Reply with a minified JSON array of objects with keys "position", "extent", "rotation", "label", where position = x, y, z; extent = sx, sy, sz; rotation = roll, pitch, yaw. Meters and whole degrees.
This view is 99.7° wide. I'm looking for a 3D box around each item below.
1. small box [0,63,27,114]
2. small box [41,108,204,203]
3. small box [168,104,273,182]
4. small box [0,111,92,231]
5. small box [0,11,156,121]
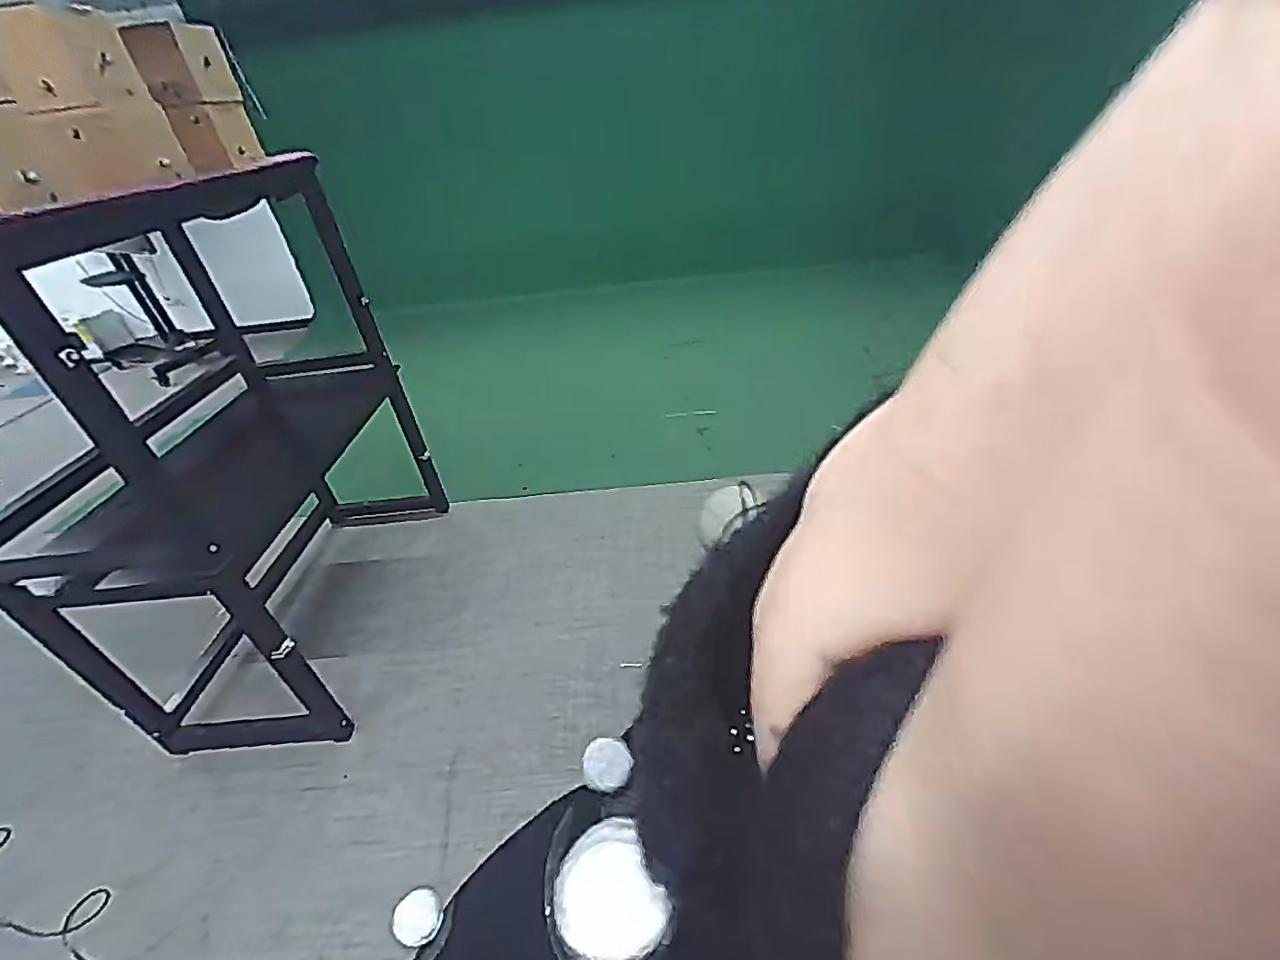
[{"position":[-1.182,-0.669,0.861],"extent":[0.179,0.176,0.168],"rotation":[-5,37,5],"label":"small box"},{"position":[-1.188,-0.754,1.258],"extent":[0.179,0.176,0.168],"rotation":[-5,36,3],"label":"small box"},{"position":[-1.200,-0.953,1.532],"extent":[0.179,0.176,0.168],"rotation":[-4,37,4],"label":"small box"},{"position":[-1.162,-0.537,0.954],"extent":[0.179,0.176,0.168],"rotation":[-7,36,3],"label":"small box"},{"position":[-1.217,-0.885,1.163],"extent":[0.179,0.176,0.168],"rotation":[-5,36,3],"label":"small box"}]
